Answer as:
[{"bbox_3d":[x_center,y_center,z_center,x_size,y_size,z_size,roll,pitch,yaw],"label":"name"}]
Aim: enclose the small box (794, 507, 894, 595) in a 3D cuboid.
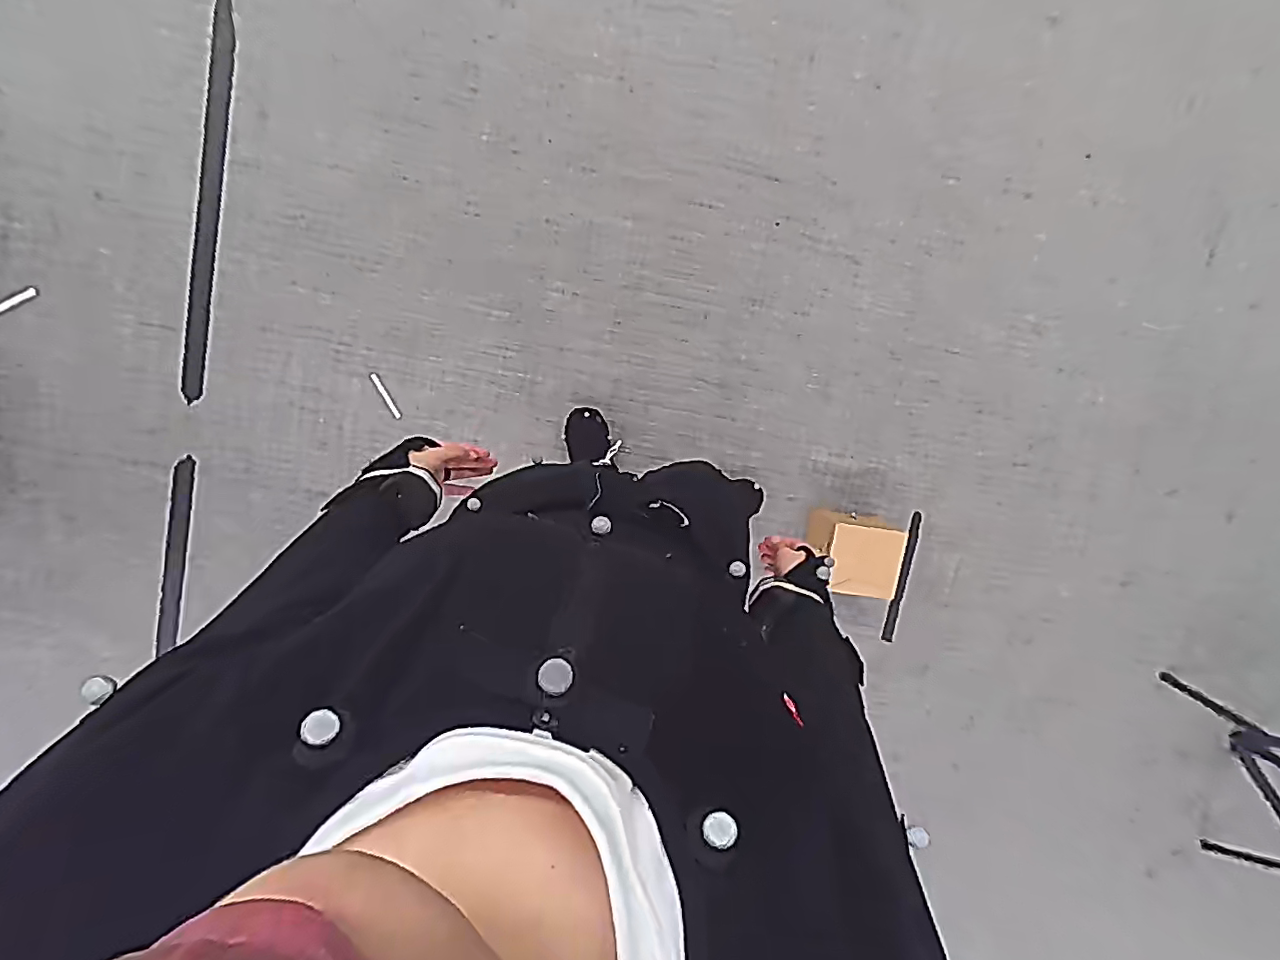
[{"bbox_3d":[0.508,0.175,1.351,0.179,0.176,0.168,9,98,-5],"label":"small box"}]
